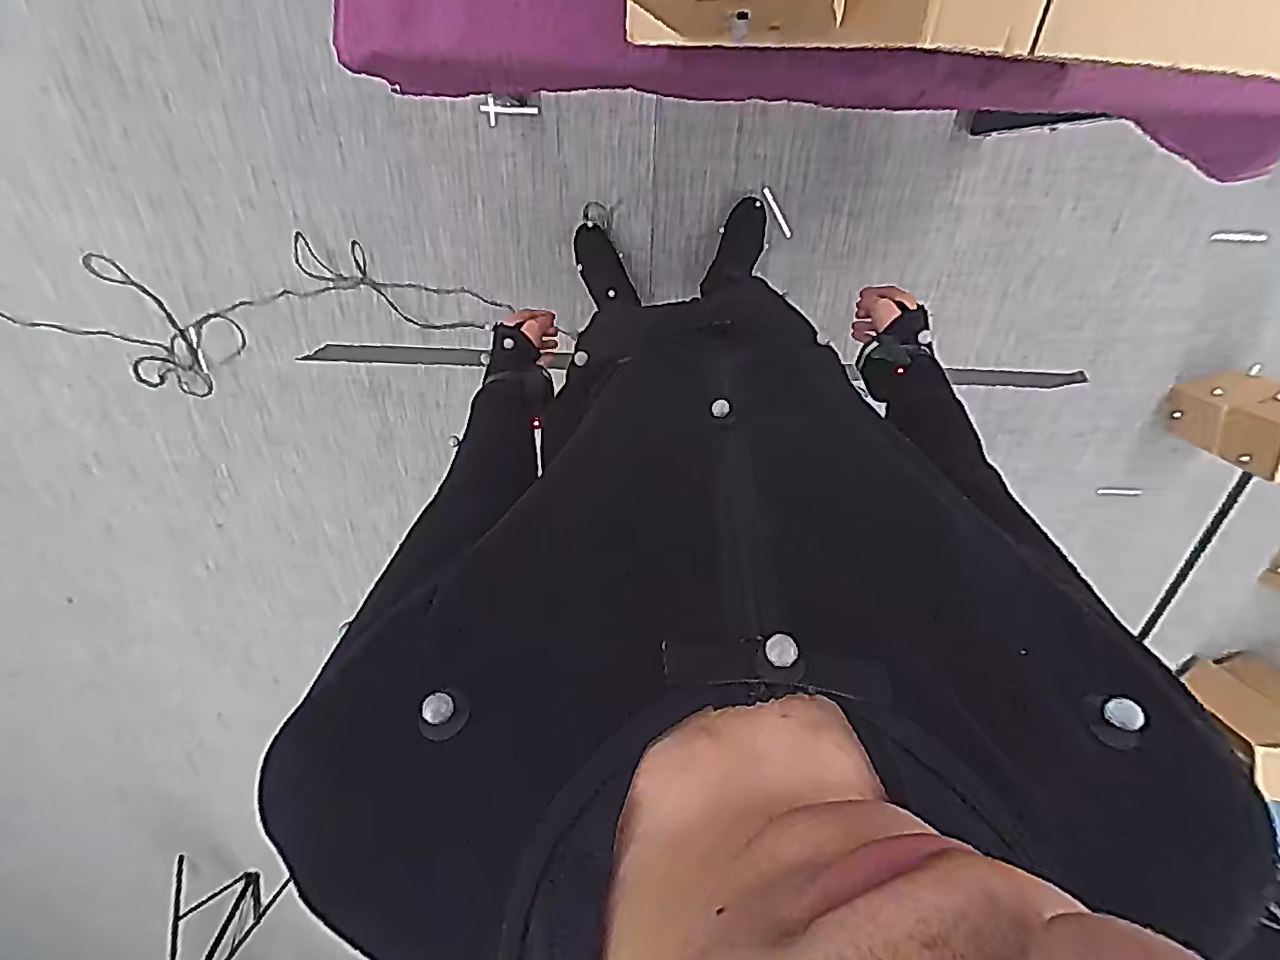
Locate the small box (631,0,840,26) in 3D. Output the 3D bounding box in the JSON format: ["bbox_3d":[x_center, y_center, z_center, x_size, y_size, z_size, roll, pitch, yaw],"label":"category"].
[{"bbox_3d":[0.091,-0.492,0.439,0.168,0.176,0.179,11,122,15],"label":"small box"}]
